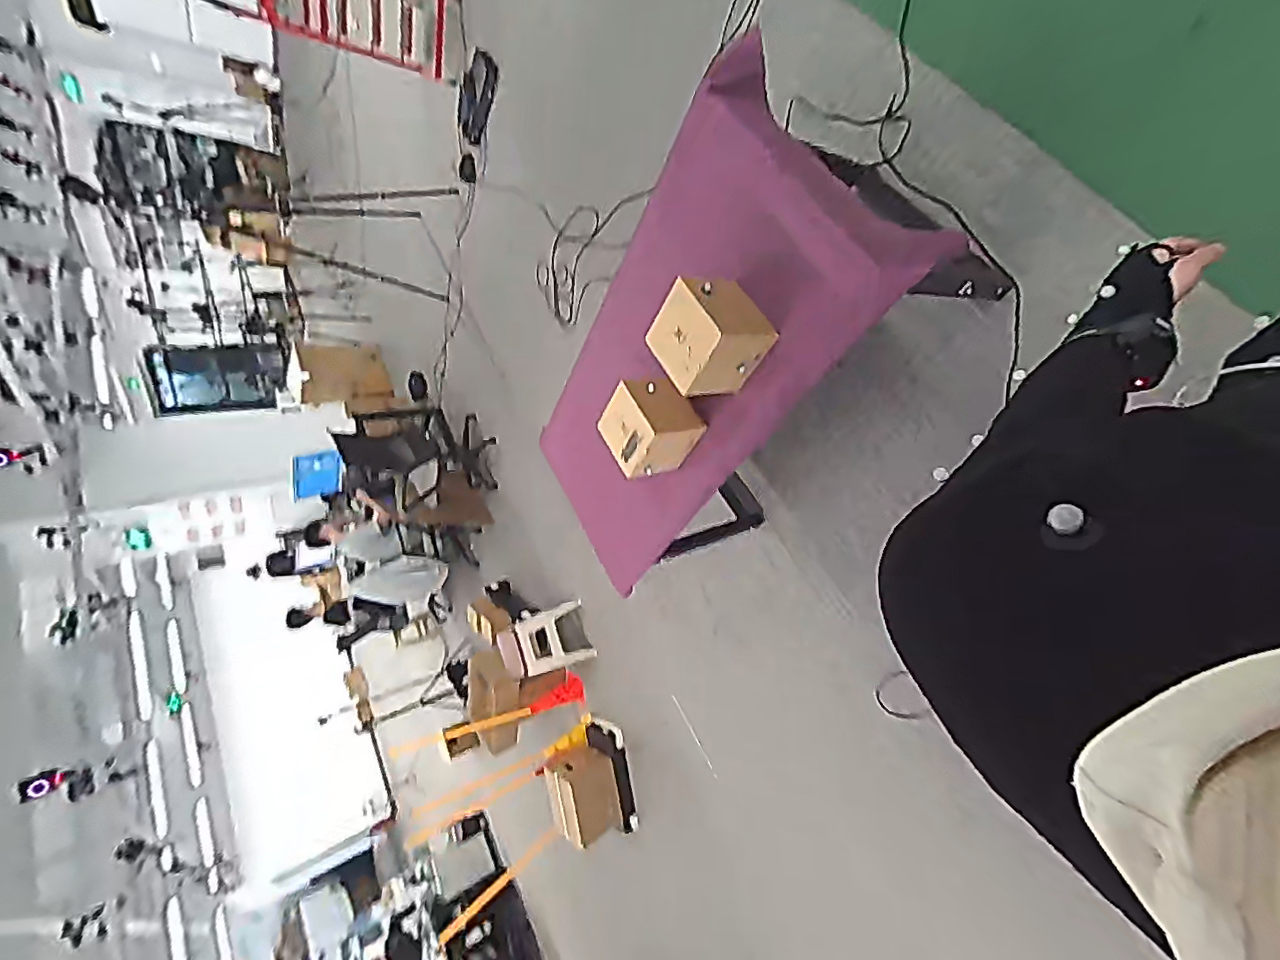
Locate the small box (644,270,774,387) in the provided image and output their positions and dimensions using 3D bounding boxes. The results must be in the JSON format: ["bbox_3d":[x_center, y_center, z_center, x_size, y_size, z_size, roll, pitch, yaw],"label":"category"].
[{"bbox_3d":[0.144,-0.316,1.144,0.179,0.176,0.168,59,140,23],"label":"small box"}]
